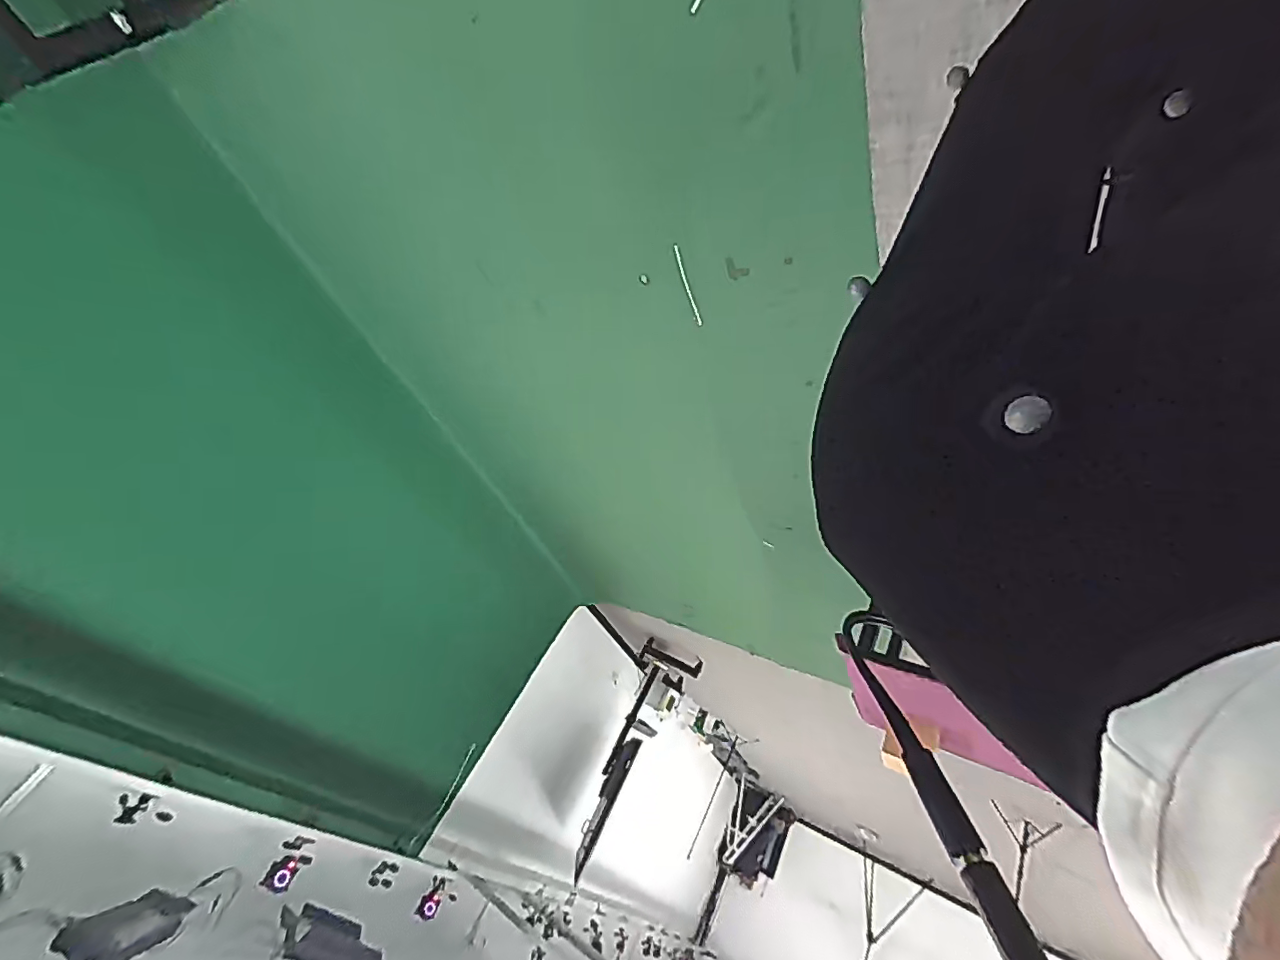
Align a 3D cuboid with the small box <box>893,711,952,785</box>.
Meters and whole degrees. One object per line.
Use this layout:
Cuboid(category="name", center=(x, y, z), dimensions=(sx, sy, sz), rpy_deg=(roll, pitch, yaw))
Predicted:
Cuboid(category="small box", center=(1.056, 0.997, 2.017), dimensions=(0.168, 0.176, 0.179), rpy_deg=(9, 144, 35))
